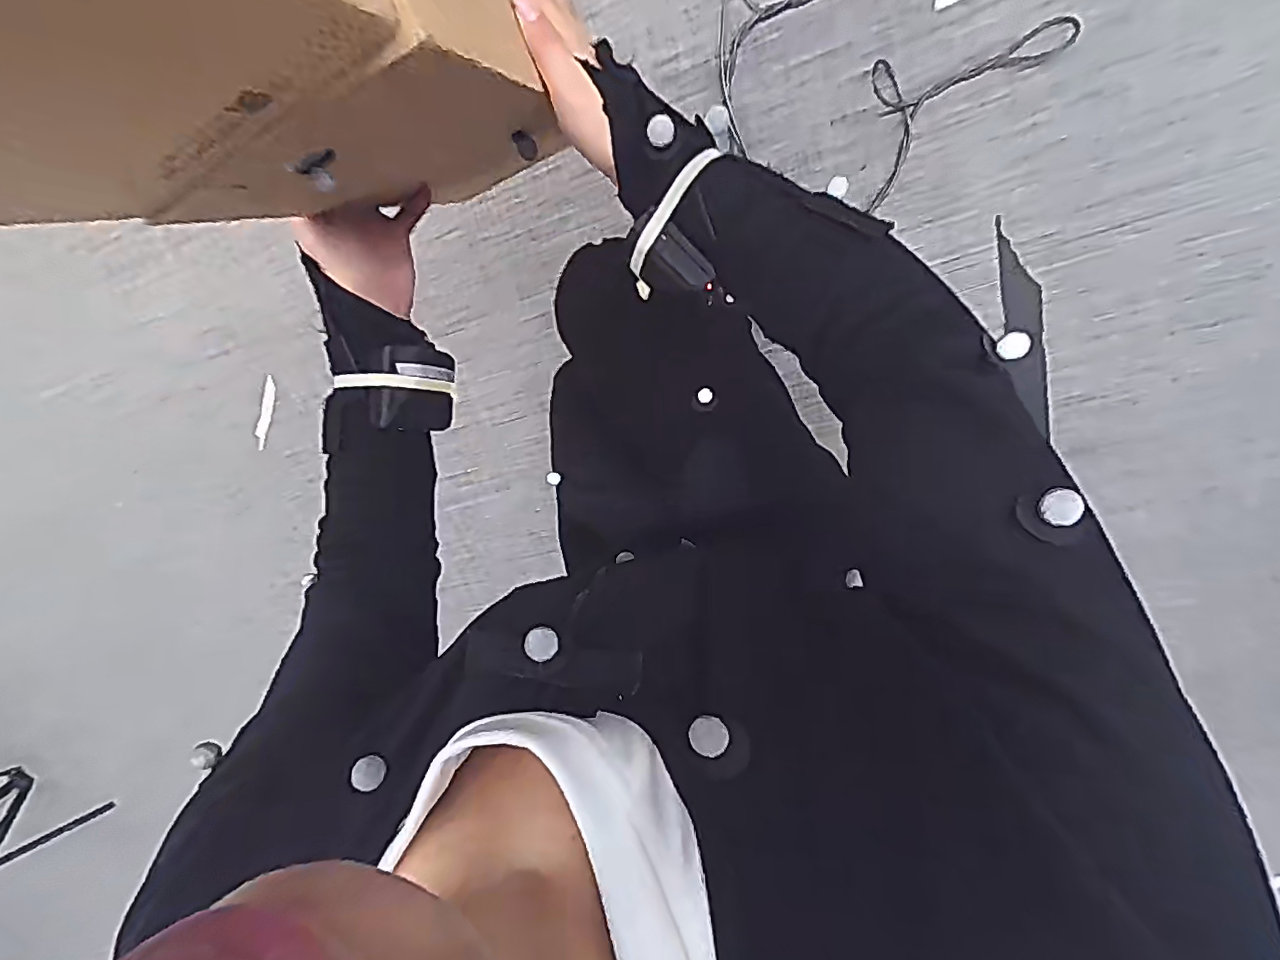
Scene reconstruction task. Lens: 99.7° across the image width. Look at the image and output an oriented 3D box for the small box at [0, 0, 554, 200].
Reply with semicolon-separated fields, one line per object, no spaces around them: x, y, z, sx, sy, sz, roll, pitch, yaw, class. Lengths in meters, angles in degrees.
-0.169;-0.253;0.261;0.179;0.176;0.168;-15;114;19;small box
